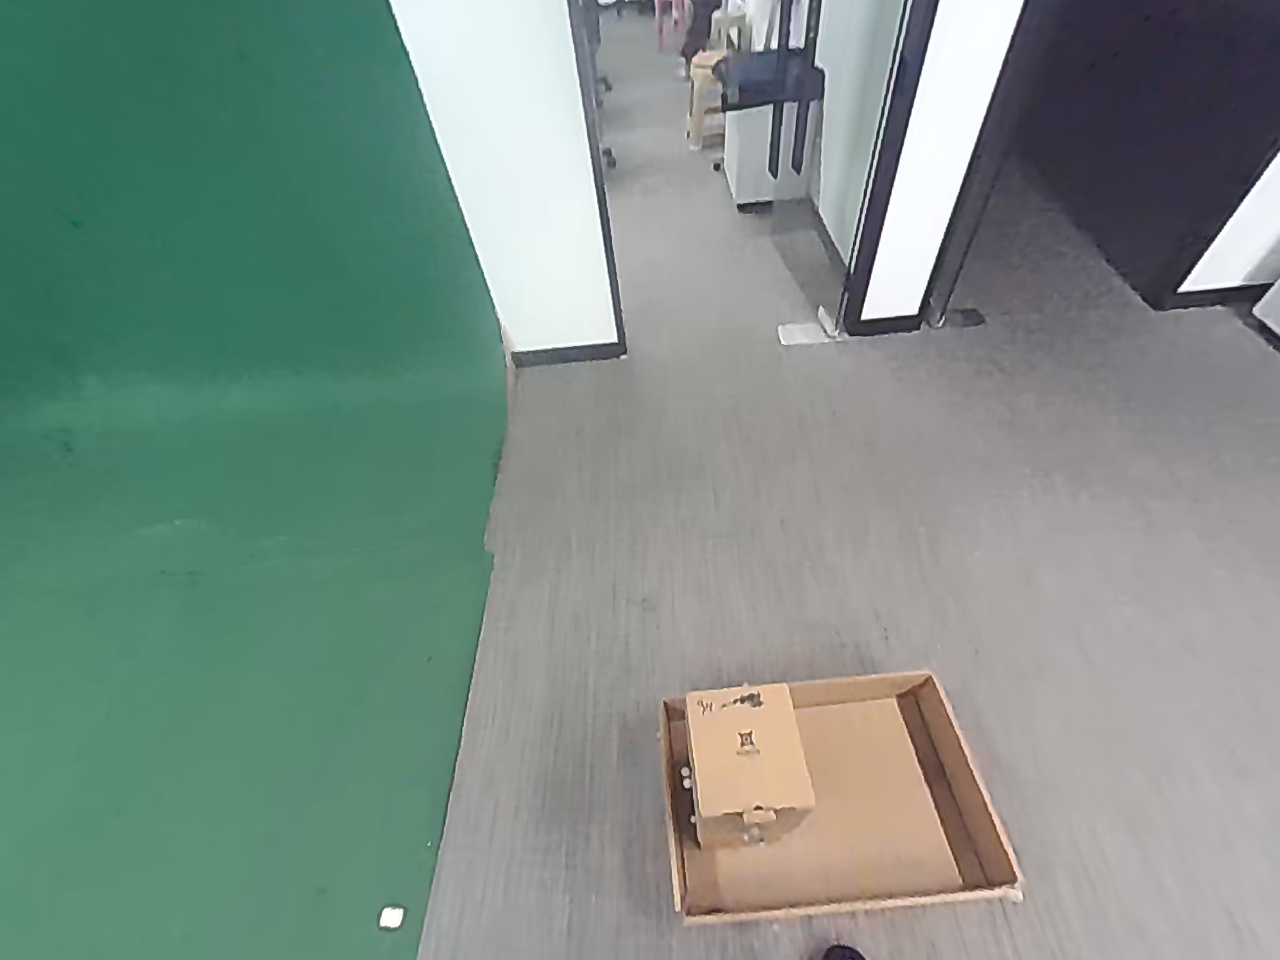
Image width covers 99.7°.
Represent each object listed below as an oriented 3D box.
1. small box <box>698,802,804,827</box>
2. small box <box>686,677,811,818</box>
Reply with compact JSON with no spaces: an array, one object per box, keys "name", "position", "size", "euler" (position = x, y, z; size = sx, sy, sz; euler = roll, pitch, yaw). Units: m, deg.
[{"name":"small box","position":[0.190,0.540,1.011],"size":[0.179,0.176,0.168],"euler":[-6,50,2]},{"name":"small box","position":[0.168,0.441,0.883],"size":[0.168,0.176,0.179],"euler":[-6,51,2]}]
